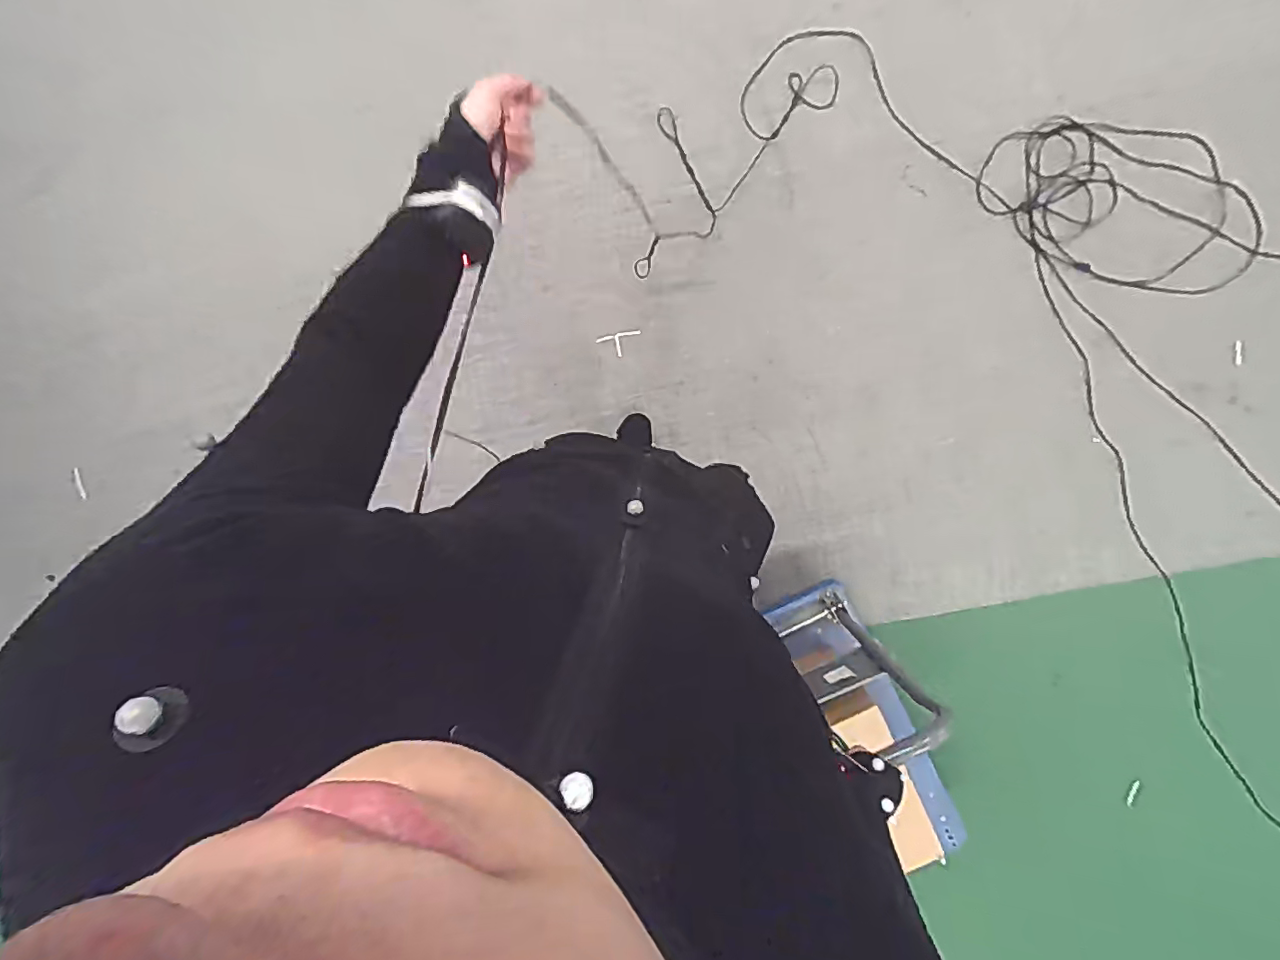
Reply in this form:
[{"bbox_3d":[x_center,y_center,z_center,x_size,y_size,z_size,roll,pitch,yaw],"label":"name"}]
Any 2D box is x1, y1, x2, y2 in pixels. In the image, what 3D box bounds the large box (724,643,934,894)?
[{"bbox_3d":[0.450,0.701,1.368,0.320,0.320,0.408,-25,97,4],"label":"large box"}]
